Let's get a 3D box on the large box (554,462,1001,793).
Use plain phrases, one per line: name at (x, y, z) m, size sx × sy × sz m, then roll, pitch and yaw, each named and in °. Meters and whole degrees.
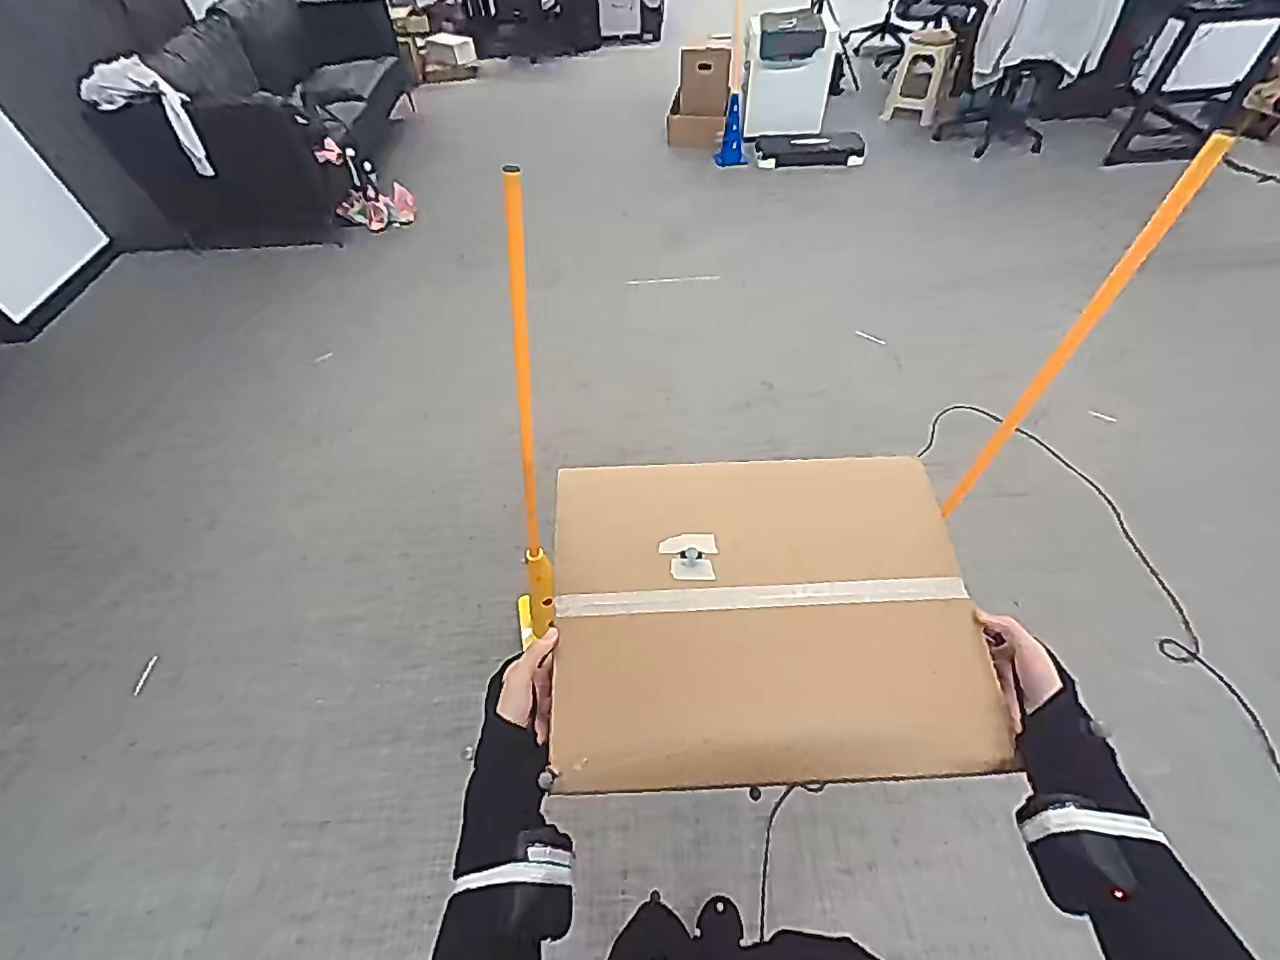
large box at (0.118, 0.194, 0.673) m, size 0.408 × 0.320 × 0.320 m, roll -3°, pitch 61°, yaw -1°
